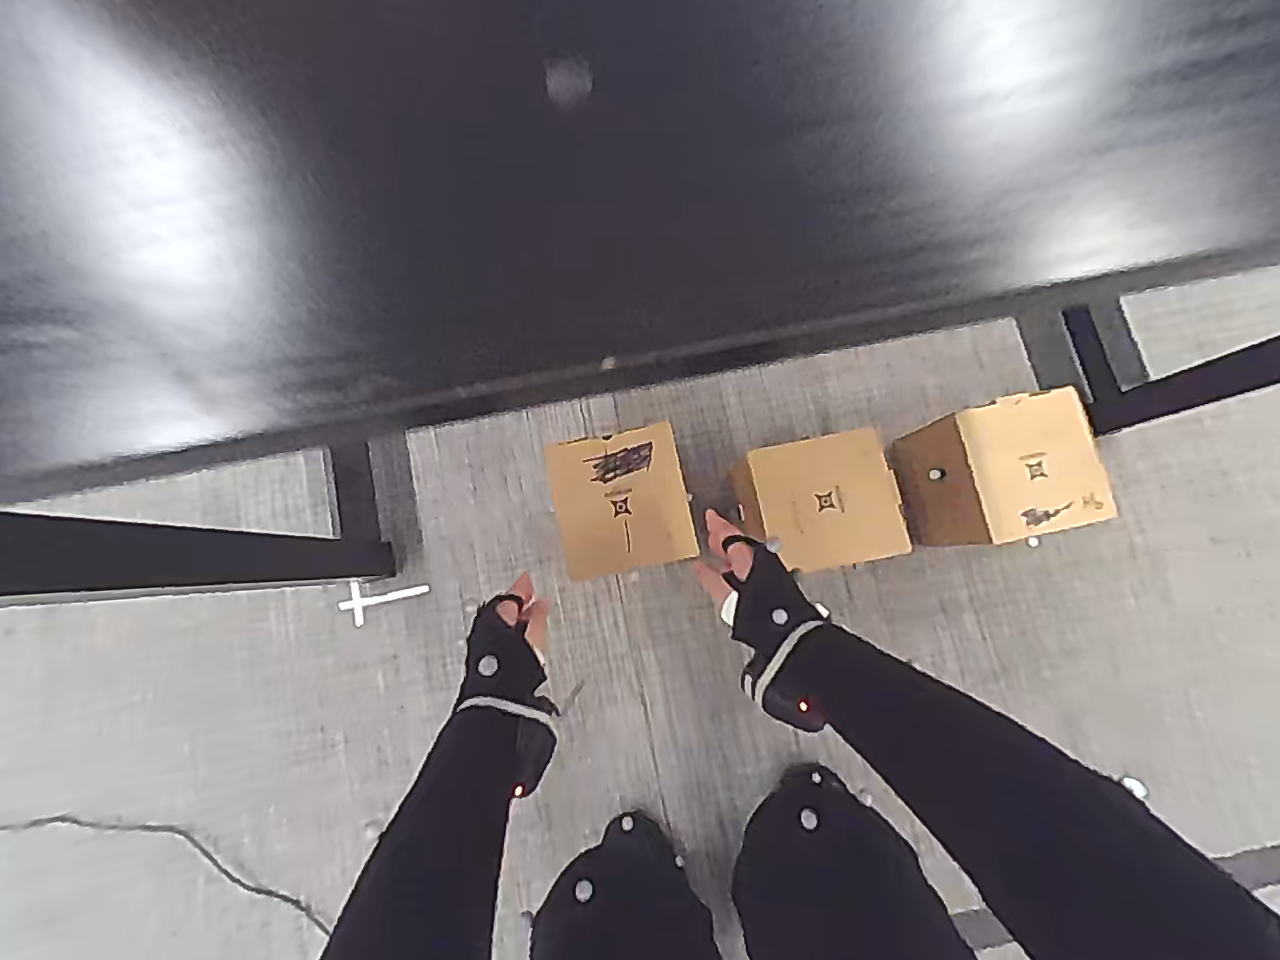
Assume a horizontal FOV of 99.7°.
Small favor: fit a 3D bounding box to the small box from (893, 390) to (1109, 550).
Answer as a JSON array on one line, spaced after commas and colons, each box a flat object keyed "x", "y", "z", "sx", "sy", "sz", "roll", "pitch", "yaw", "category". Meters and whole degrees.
[{"x": 0.488, "y": -0.005, "z": 0.764, "sx": 0.168, "sy": 0.176, "sz": 0.179, "roll": -12, "pitch": 80, "yaw": -1, "category": "small box"}]

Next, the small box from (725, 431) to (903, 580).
[{"x": 0.229, "y": 0.041, "z": 0.759, "sx": 0.179, "sy": 0.176, "sz": 0.168, "roll": -11, "pitch": 81, "yaw": -1, "category": "small box"}]

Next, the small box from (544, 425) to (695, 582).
[{"x": -0.028, "y": 0.041, "z": 0.758, "sx": 0.168, "sy": 0.176, "sz": 0.179, "roll": -12, "pitch": 82, "yaw": -2, "category": "small box"}]
